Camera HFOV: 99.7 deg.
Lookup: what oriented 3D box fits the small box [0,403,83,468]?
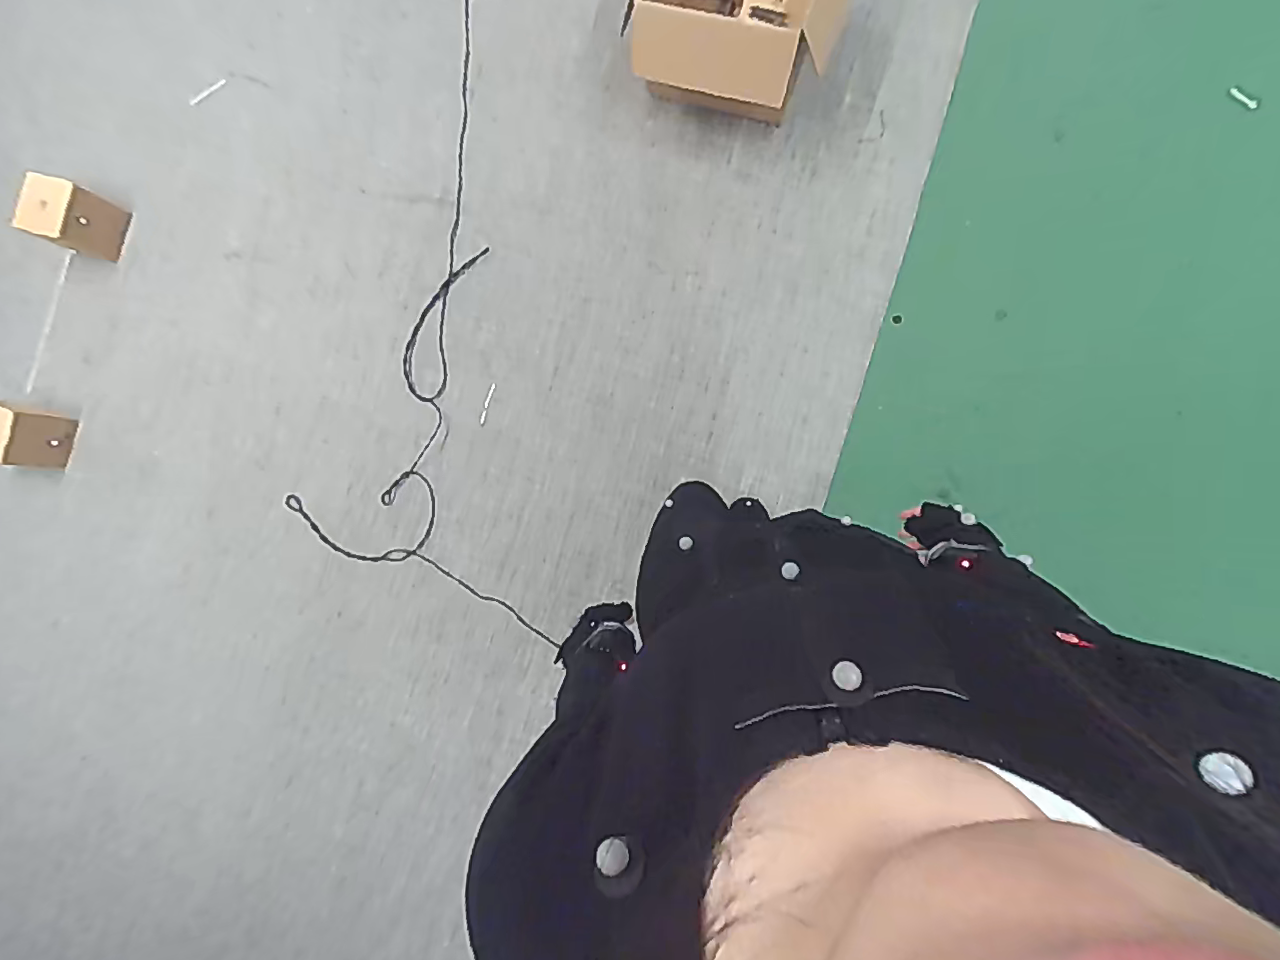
[{"bbox_3d":[-1.904,-0.136,1.669,0.179,0.176,0.168,16,90,7],"label":"small box"}]

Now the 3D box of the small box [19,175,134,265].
[{"bbox_3d":[-1.733,-0.800,1.673,0.168,0.176,0.179,16,90,7],"label":"small box"}]
